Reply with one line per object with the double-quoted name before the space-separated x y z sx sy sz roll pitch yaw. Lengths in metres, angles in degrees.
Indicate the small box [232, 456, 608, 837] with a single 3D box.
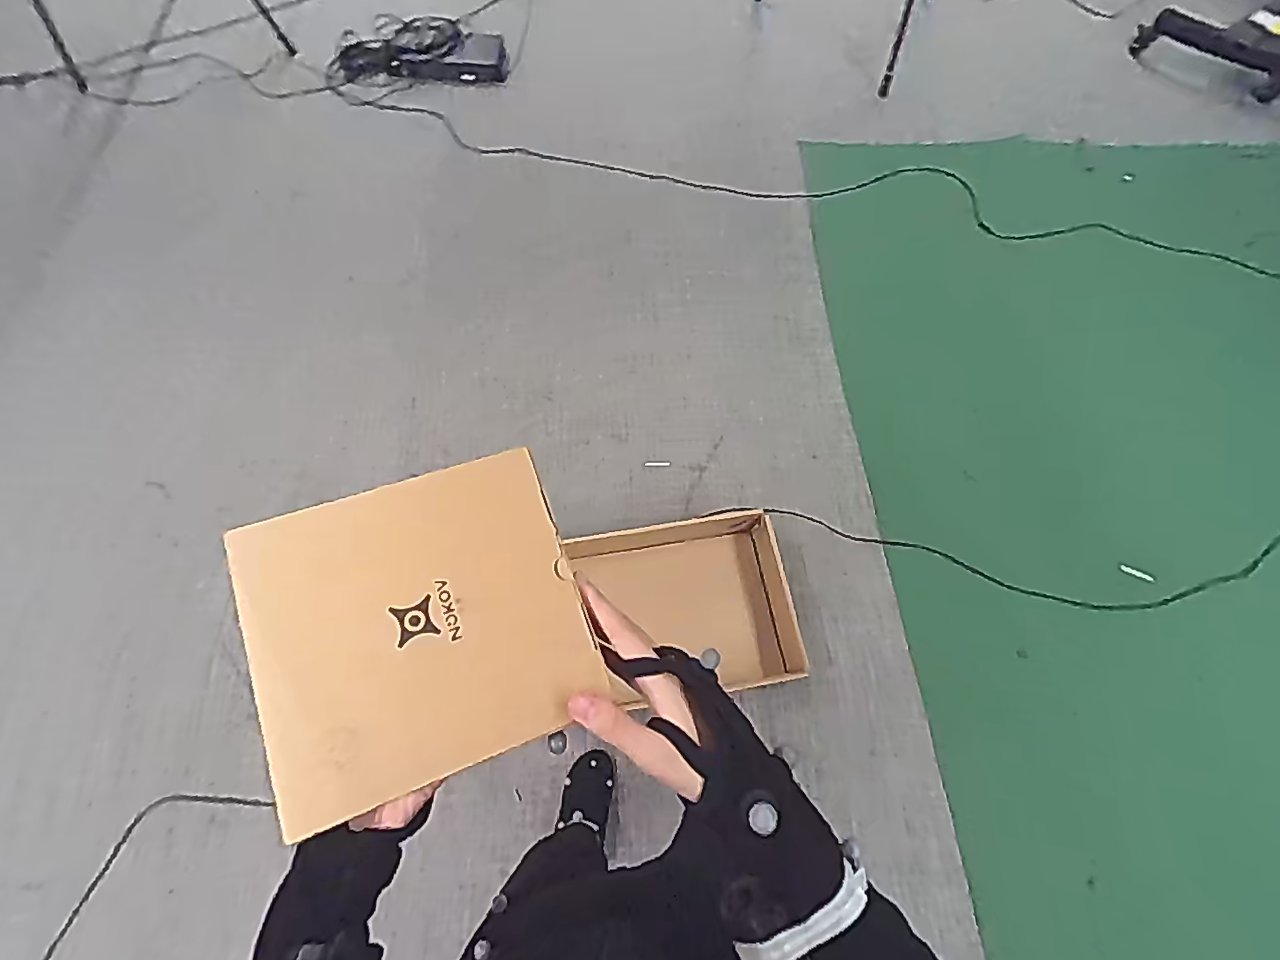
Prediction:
"small box" -0.137 0.108 0.383 0.179 0.176 0.168 -18 75 -16
